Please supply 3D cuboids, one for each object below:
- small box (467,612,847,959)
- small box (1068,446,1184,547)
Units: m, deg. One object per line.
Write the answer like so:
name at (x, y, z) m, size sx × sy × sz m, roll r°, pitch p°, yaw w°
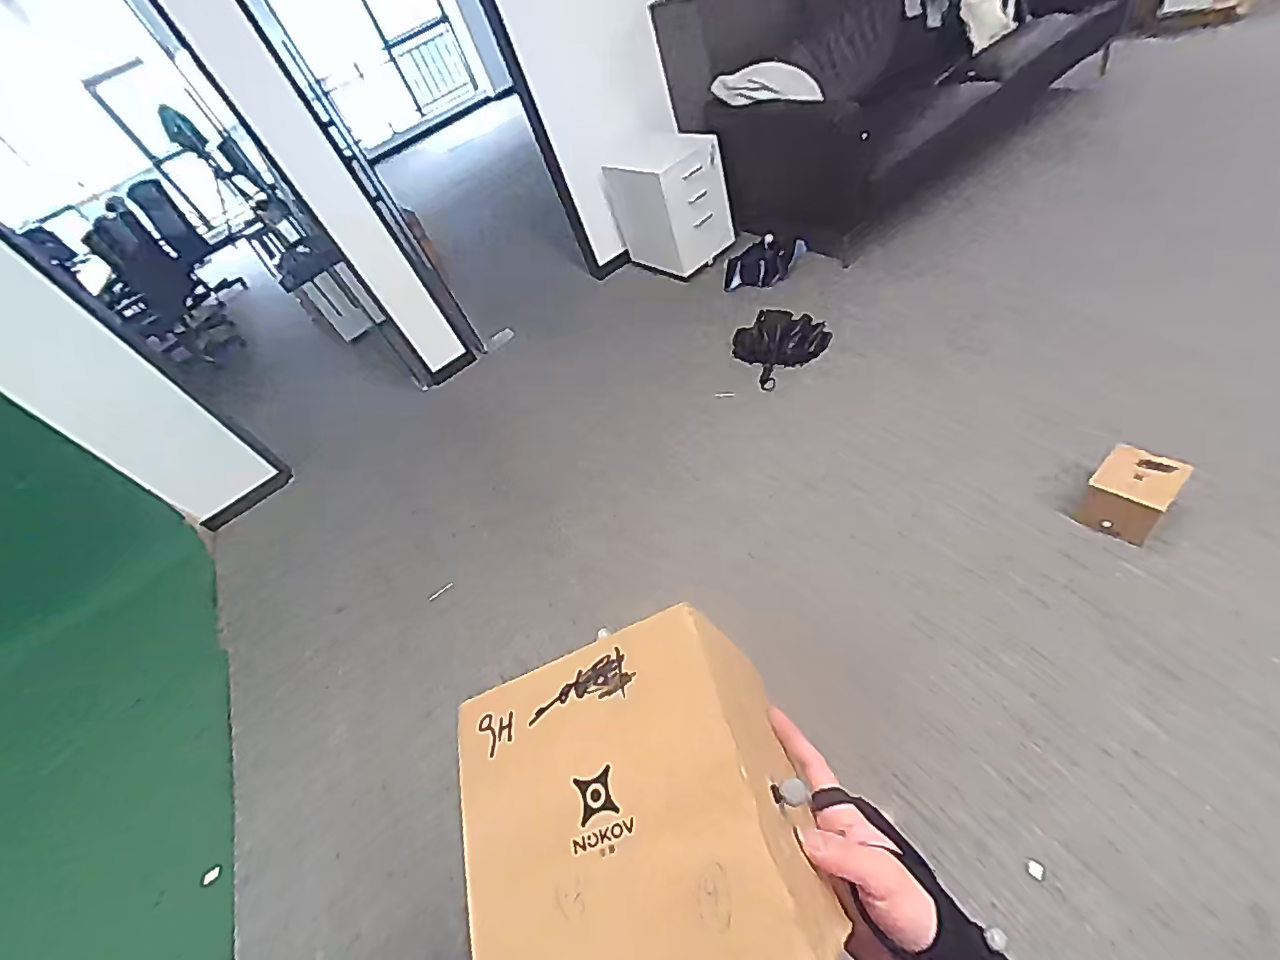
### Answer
small box at (0.016, 0.214, 0.348) m, size 0.168 × 0.176 × 0.179 m, roll -27°, pitch 54°, yaw 10°
small box at (1.311, 0.046, 1.471) m, size 0.179 × 0.176 × 0.168 m, roll -42°, pitch 47°, yaw -16°
